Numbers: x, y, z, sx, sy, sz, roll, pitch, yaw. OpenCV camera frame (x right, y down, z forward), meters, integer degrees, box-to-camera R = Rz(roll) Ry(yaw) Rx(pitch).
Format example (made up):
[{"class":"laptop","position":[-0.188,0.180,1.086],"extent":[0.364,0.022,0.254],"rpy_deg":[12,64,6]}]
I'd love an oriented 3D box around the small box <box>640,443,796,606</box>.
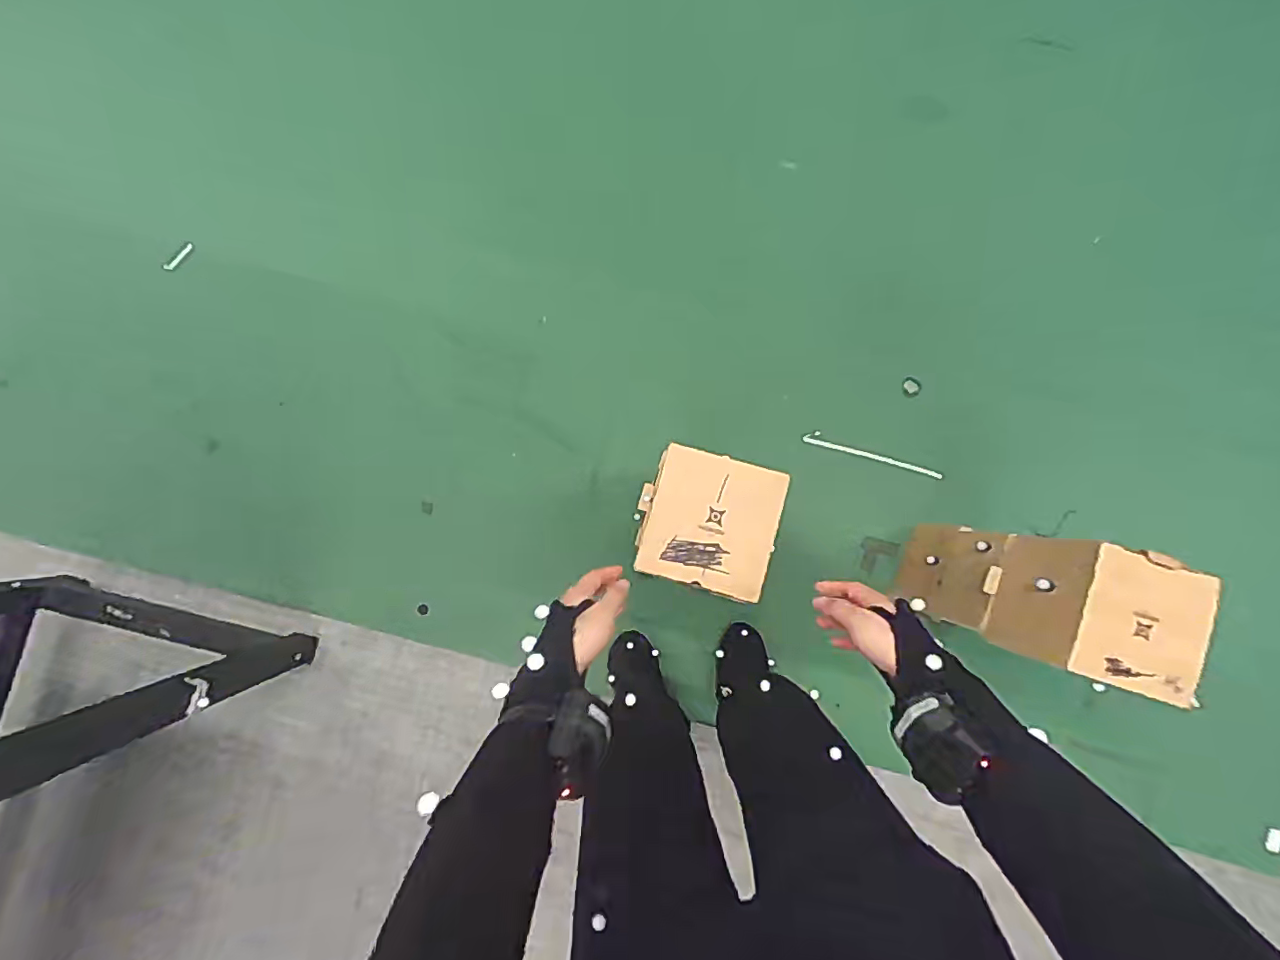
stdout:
[{"class":"small box","position":[0.103,0.061,0.775],"extent":[0.168,0.176,0.179],"rpy_deg":[16,87,1]}]

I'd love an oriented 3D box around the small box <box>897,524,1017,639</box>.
[{"class":"small box","position":[0.655,0.200,1.101],"extent":[0.168,0.176,0.179],"rpy_deg":[23,87,0]}]

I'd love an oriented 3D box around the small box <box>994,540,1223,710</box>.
[{"class":"small box","position":[0.649,0.191,0.772],"extent":[0.168,0.176,0.179],"rpy_deg":[19,86,-1]}]
